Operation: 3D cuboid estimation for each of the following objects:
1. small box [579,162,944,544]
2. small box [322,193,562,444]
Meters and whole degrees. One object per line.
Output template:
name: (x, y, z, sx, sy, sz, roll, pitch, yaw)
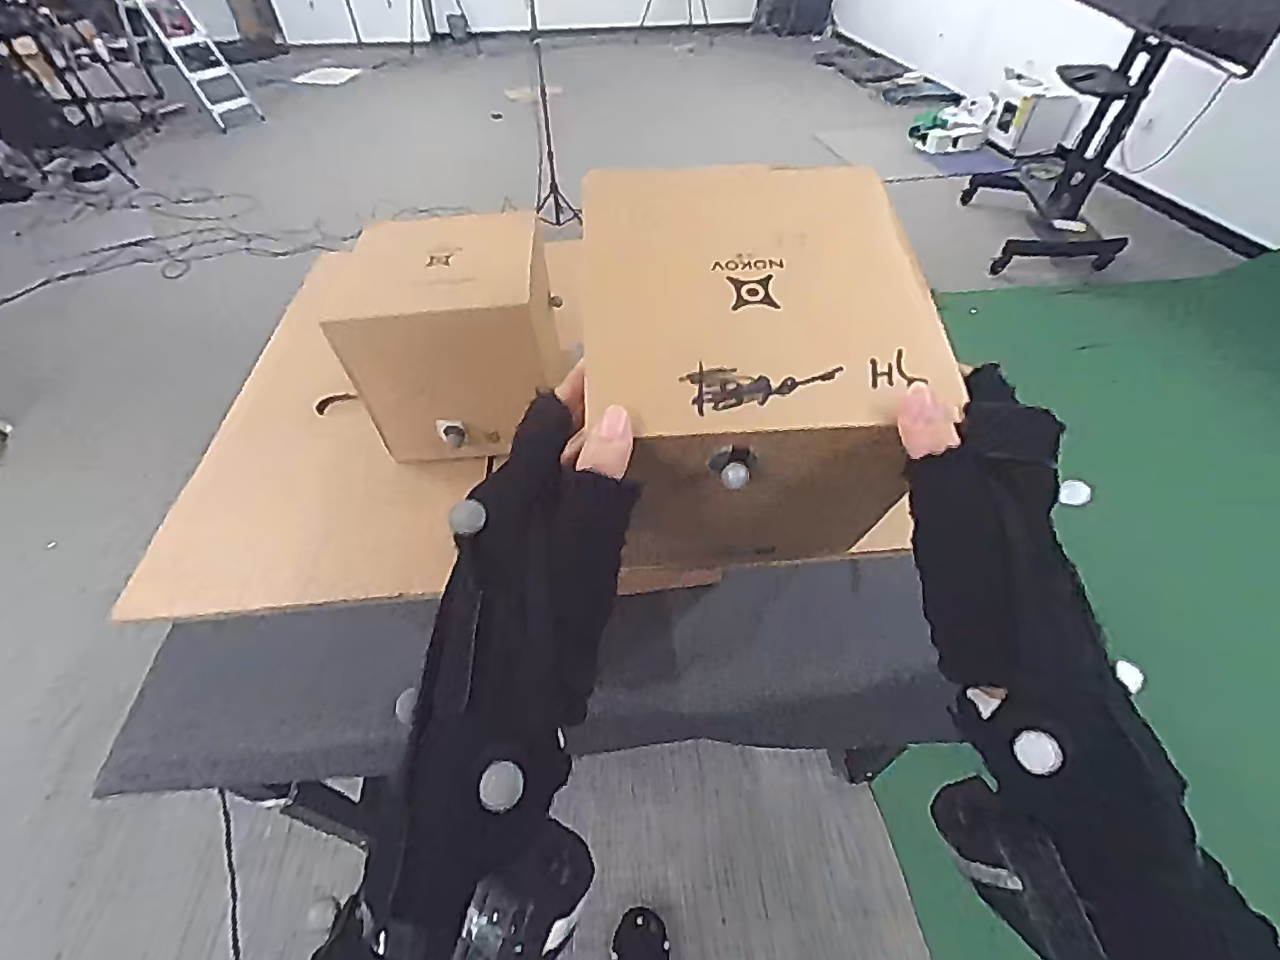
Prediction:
small box: (0.052, -0.072, 0.349, 0.168, 0.176, 0.179, -2, 62, 0)
small box: (-0.171, -0.158, 0.534, 0.168, 0.176, 0.179, -6, 50, -2)
